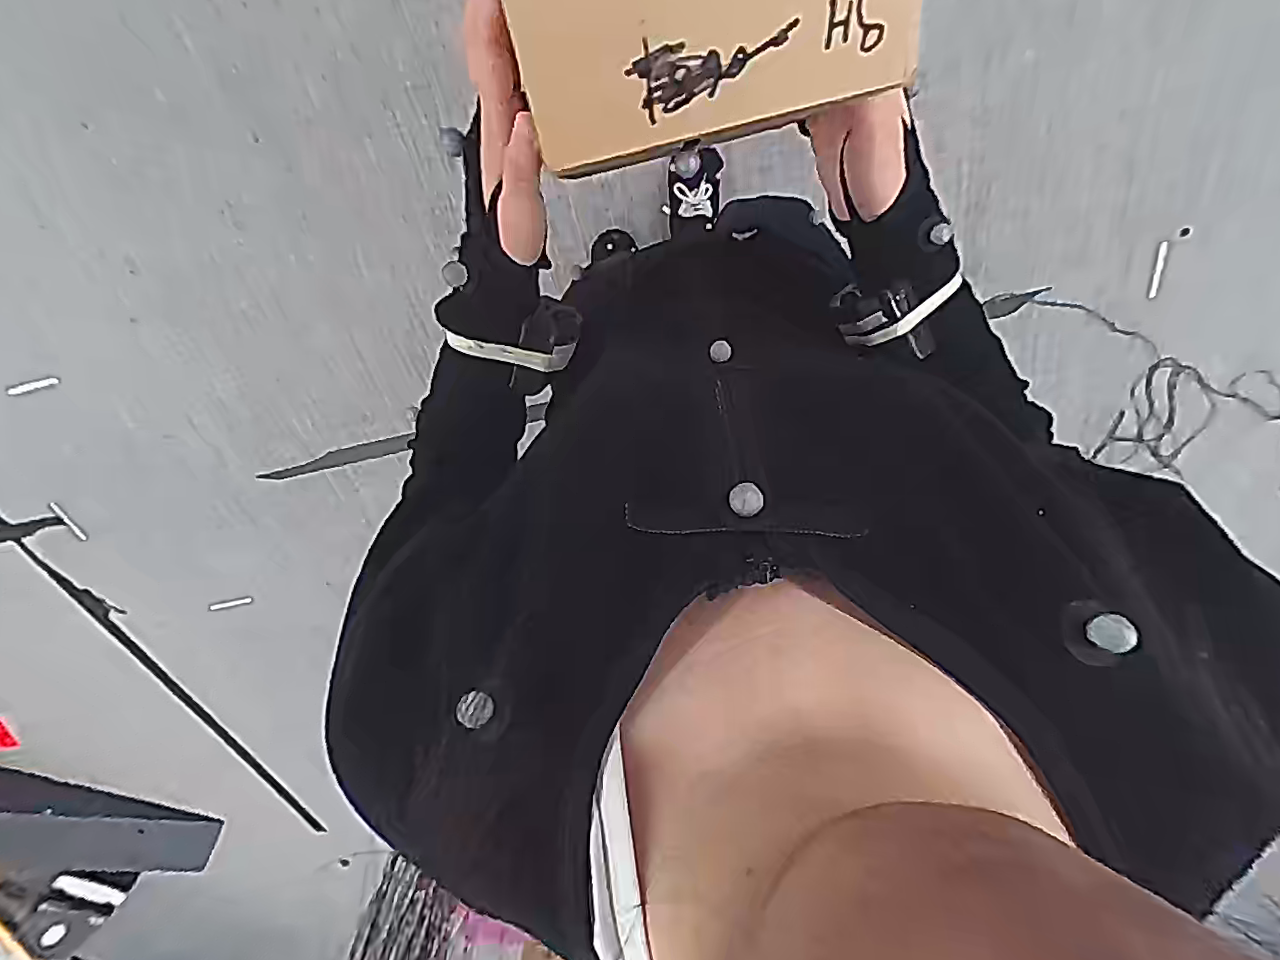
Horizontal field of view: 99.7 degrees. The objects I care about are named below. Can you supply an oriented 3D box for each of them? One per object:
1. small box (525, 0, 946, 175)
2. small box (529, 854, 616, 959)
[{"bbox_3d":[0.023,-0.263,0.259,0.168,0.176,0.179,-12,118,2],"label":"small box"},{"bbox_3d":[-0.149,1.015,1.268,0.168,0.176,0.179,-9,120,2],"label":"small box"}]
